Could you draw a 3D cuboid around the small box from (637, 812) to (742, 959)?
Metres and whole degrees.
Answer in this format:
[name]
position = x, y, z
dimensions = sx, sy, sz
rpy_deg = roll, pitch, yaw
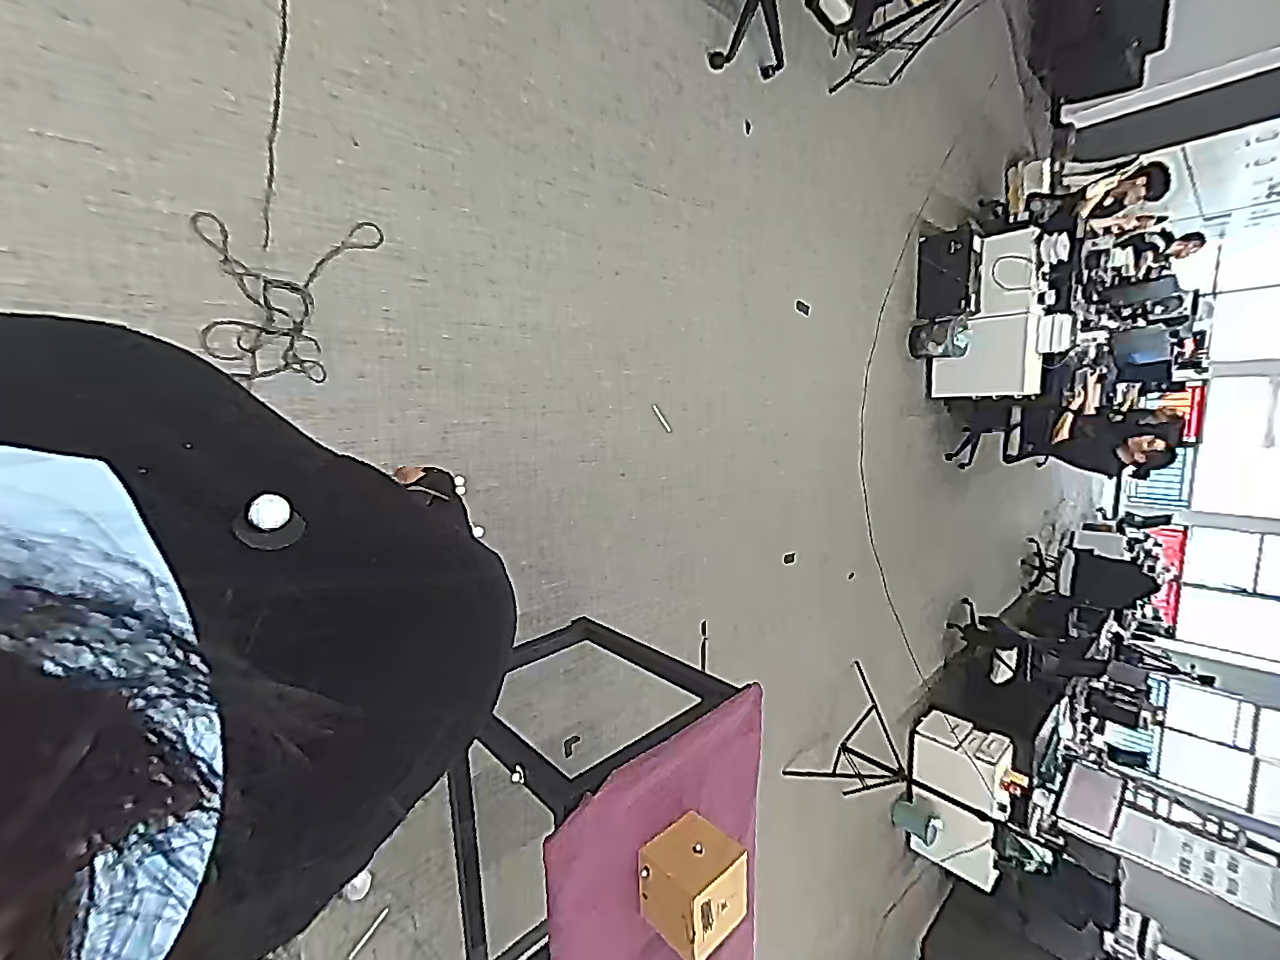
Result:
[small box]
position = 0.106, 0.889, 1.197
dimensions = 0.179, 0.176, 0.168
rpy_deg = -9, 102, -42
